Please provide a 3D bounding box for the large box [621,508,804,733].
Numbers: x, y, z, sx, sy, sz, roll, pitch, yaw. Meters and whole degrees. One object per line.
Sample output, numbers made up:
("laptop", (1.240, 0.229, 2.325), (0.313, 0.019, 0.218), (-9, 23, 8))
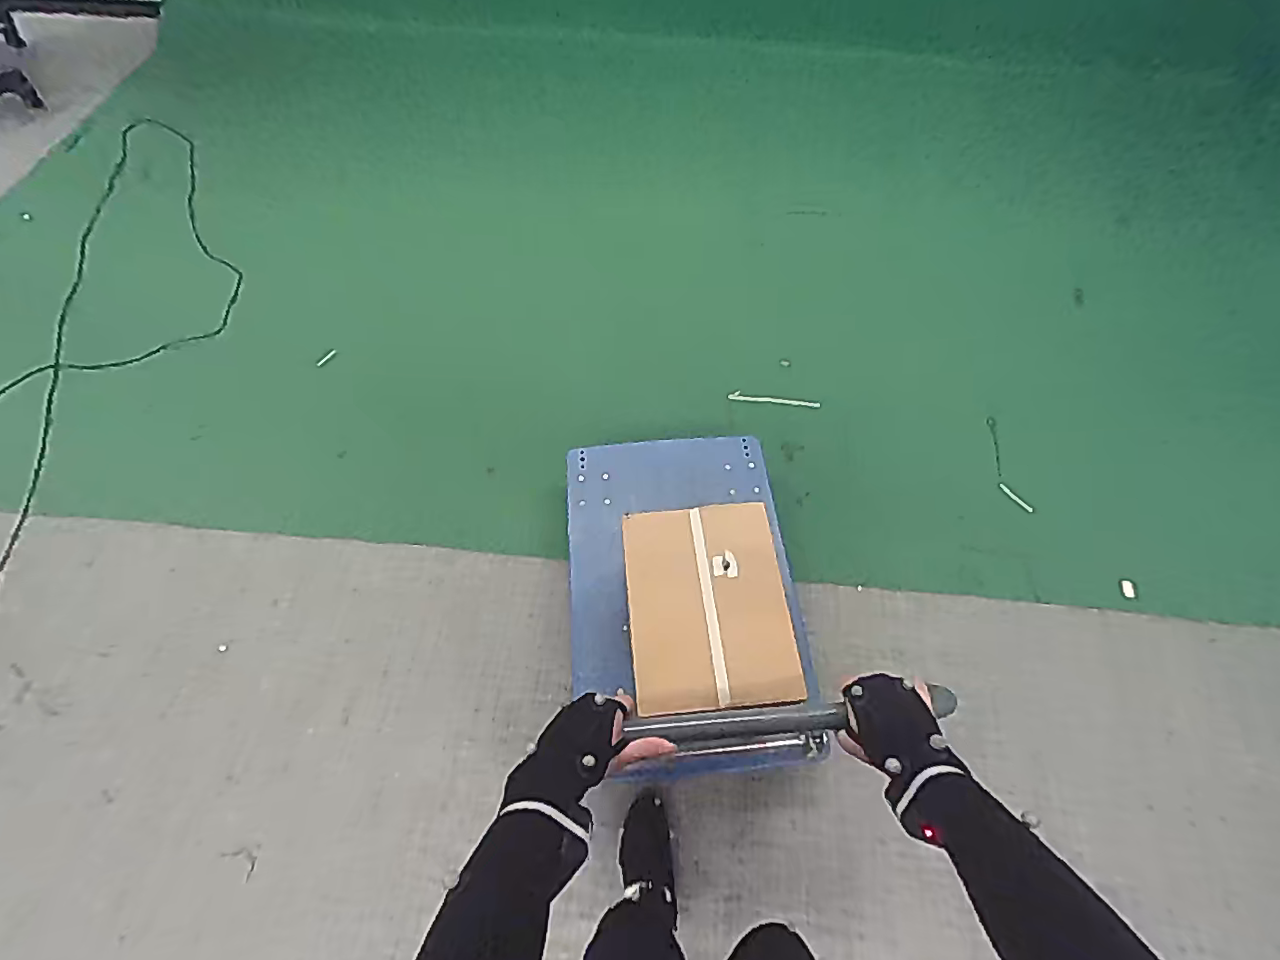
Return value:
("large box", (0.135, 0.322, 1.214), (0.320, 0.320, 0.408), (-5, 61, -2))
